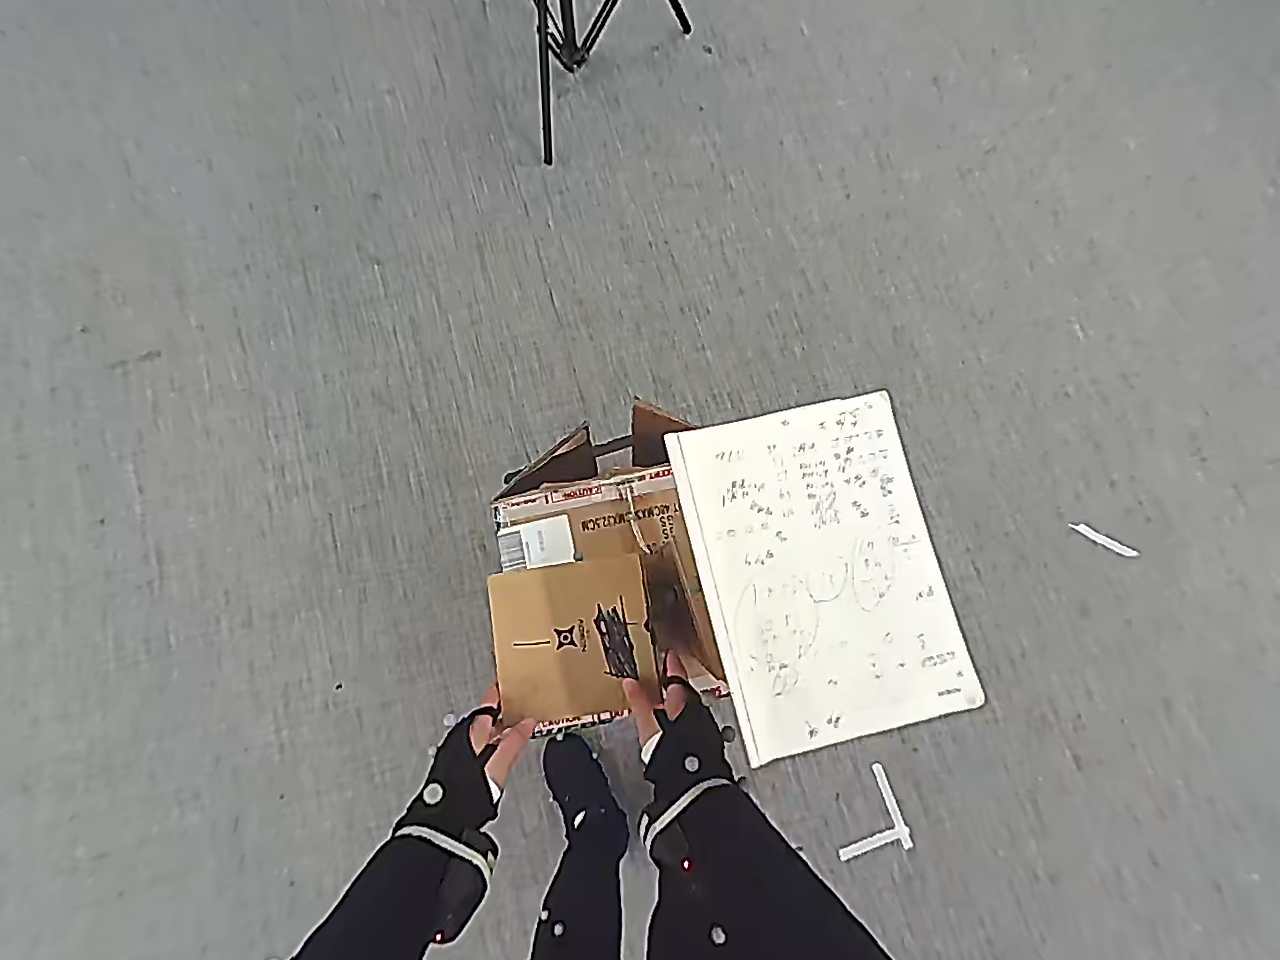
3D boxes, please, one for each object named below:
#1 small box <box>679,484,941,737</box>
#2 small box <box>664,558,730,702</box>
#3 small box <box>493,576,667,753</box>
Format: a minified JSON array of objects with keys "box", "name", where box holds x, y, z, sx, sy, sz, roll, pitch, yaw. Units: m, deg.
[{"box":[0.144,0.120,0.529,0.168,0.176,0.179,-15,81,-6],"name":"small box"},{"box":[0.141,0.157,0.687,0.179,0.176,0.168,-17,80,-5],"name":"small box"},{"box":[-0.069,0.213,0.672,0.179,0.176,0.168,-9,81,-2],"name":"small box"}]
